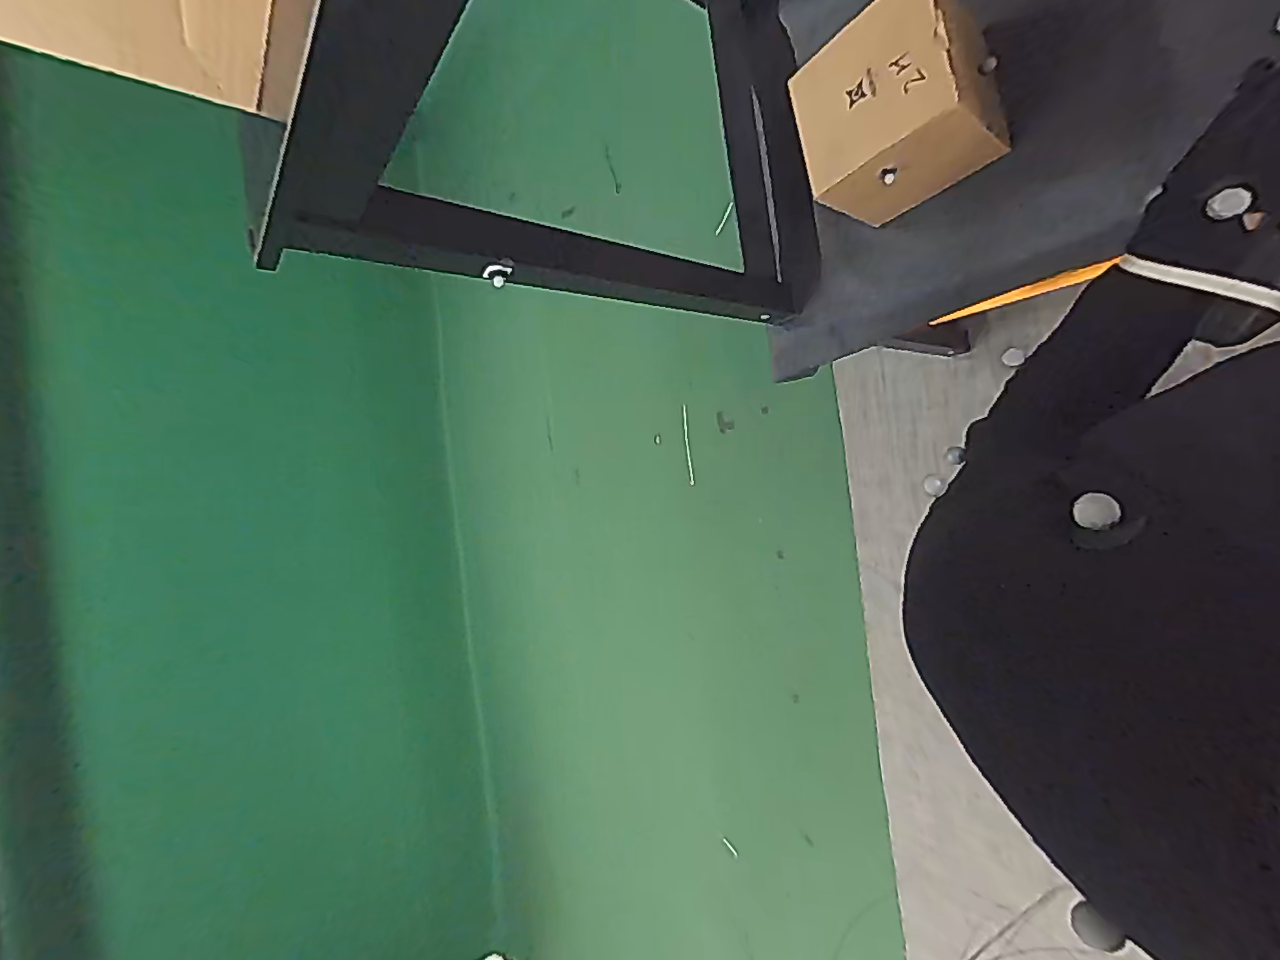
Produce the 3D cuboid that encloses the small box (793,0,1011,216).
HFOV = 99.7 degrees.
[{"bbox_3d":[0.326,-0.464,0.679,0.179,0.176,0.168,-16,83,50],"label":"small box"}]
